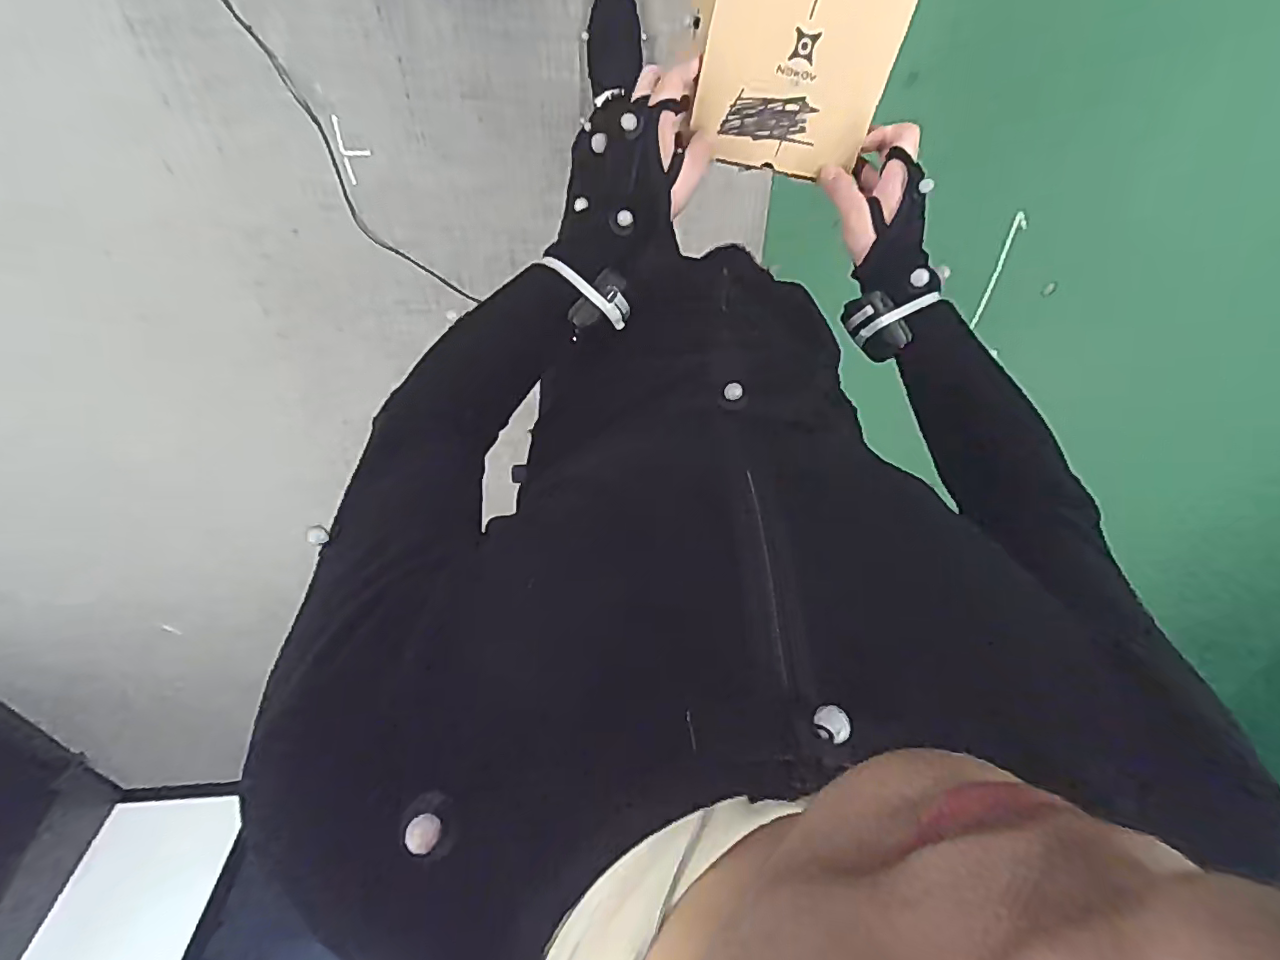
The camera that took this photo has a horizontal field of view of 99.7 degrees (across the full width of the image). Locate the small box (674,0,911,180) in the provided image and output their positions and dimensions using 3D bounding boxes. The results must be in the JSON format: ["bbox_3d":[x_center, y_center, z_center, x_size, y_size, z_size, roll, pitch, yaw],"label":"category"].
[{"bbox_3d":[0.133,-0.426,0.535,0.168,0.176,0.179,6,130,-10],"label":"small box"}]
